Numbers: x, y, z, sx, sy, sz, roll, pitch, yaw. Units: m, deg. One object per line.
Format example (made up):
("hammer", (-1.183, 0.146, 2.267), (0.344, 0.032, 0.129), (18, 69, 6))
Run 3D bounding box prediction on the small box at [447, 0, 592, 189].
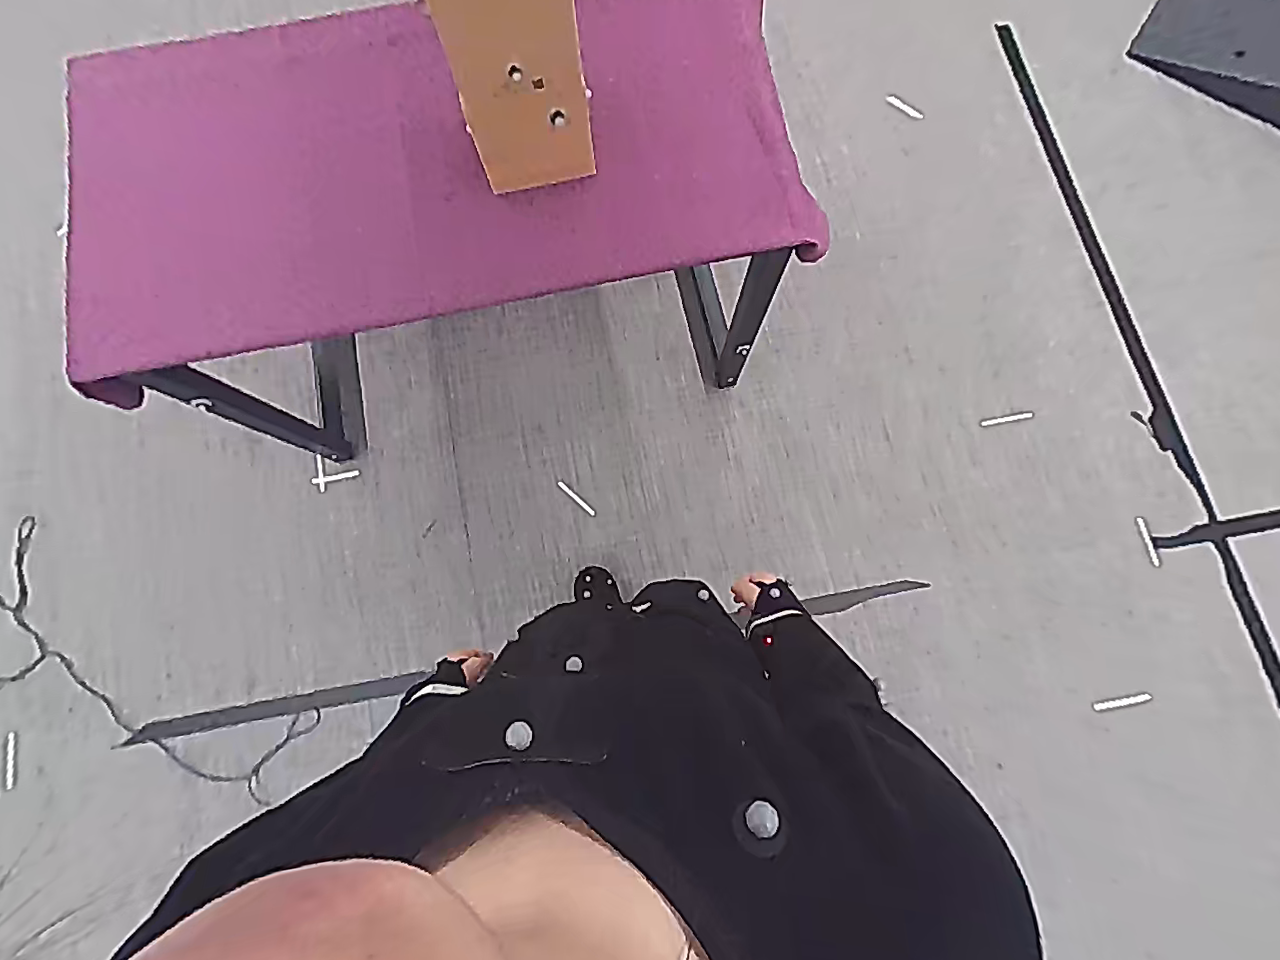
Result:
("small box", (-0.174, -0.590, 0.837), (0.179, 0.176, 0.168), (-13, 78, -1))
